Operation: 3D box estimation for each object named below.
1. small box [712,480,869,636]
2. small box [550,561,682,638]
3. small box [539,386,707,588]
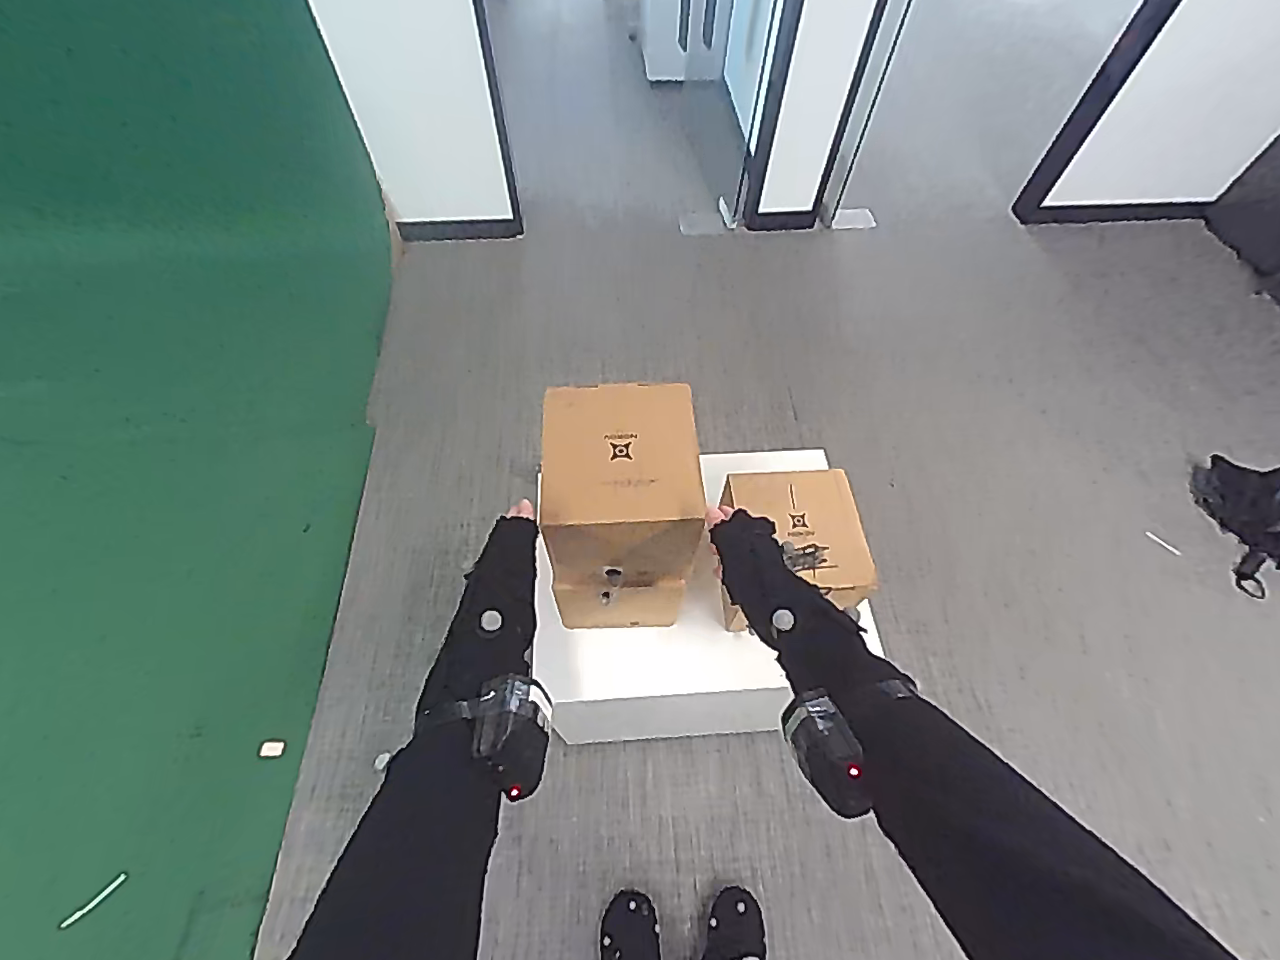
[{"bbox_3d":[0.201,0.119,0.779,0.168,0.176,0.179,-2,56,-2],"label":"small box"},{"bbox_3d":[-0.032,0.114,0.776,0.168,0.176,0.179,-1,56,-1],"label":"small box"},{"bbox_3d":[-0.023,0.012,0.631,0.168,0.176,0.179,-2,59,-3],"label":"small box"}]
